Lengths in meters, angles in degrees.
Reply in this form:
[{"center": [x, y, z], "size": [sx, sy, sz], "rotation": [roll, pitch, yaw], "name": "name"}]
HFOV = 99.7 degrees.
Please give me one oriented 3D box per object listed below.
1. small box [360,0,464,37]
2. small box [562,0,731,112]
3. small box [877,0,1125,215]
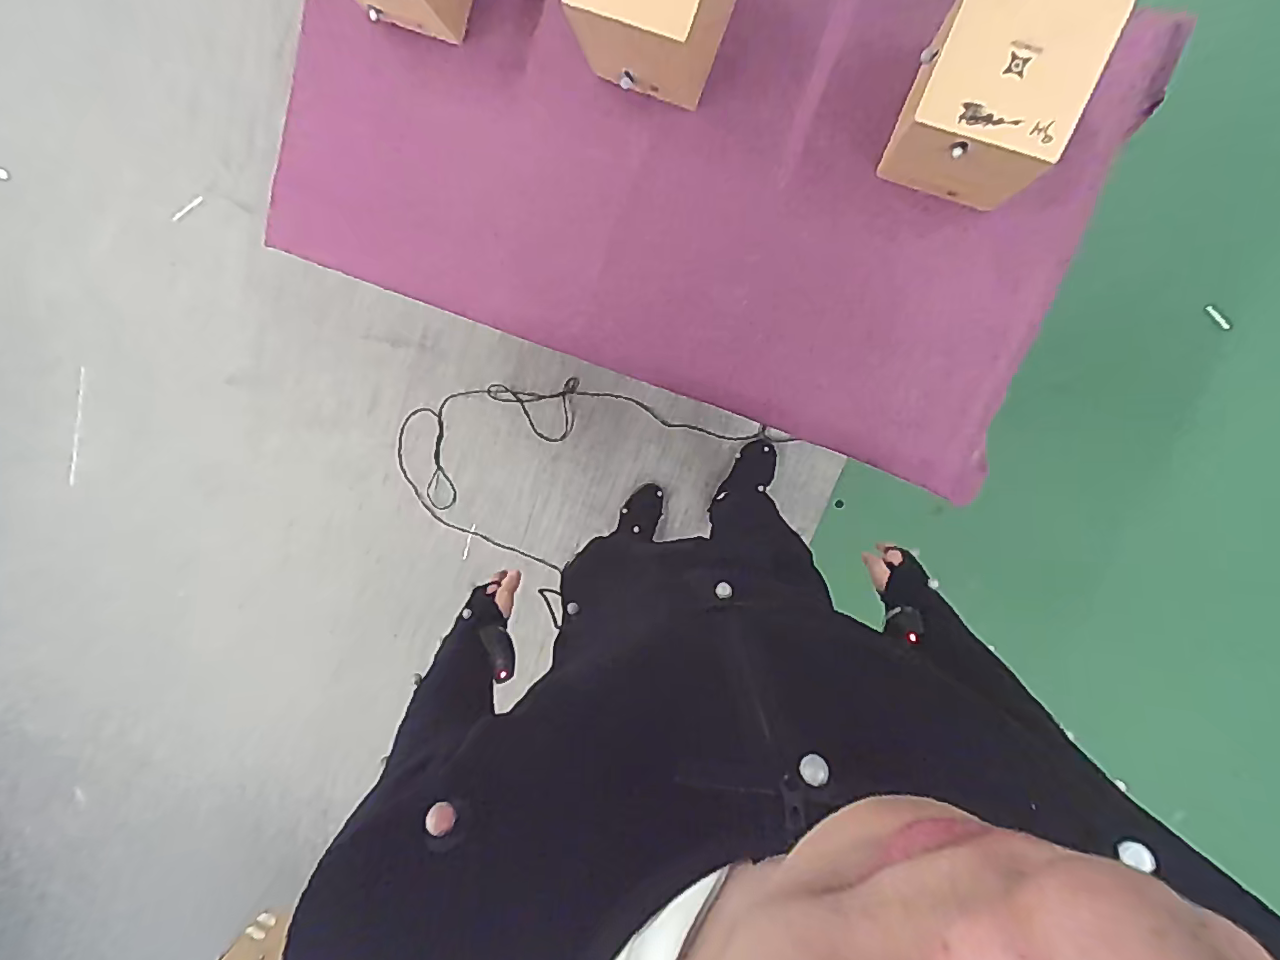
[{"center": [-0.337, -0.754, 0.726], "size": [0.168, 0.176, 0.179], "rotation": [21, 103, 3], "name": "small box"}, {"center": [0.020, -0.631, 0.702], "size": [0.168, 0.176, 0.179], "rotation": [23, 103, 4], "name": "small box"}, {"center": [0.422, -0.464, 0.673], "size": [0.168, 0.176, 0.179], "rotation": [22, 102, 5], "name": "small box"}]
